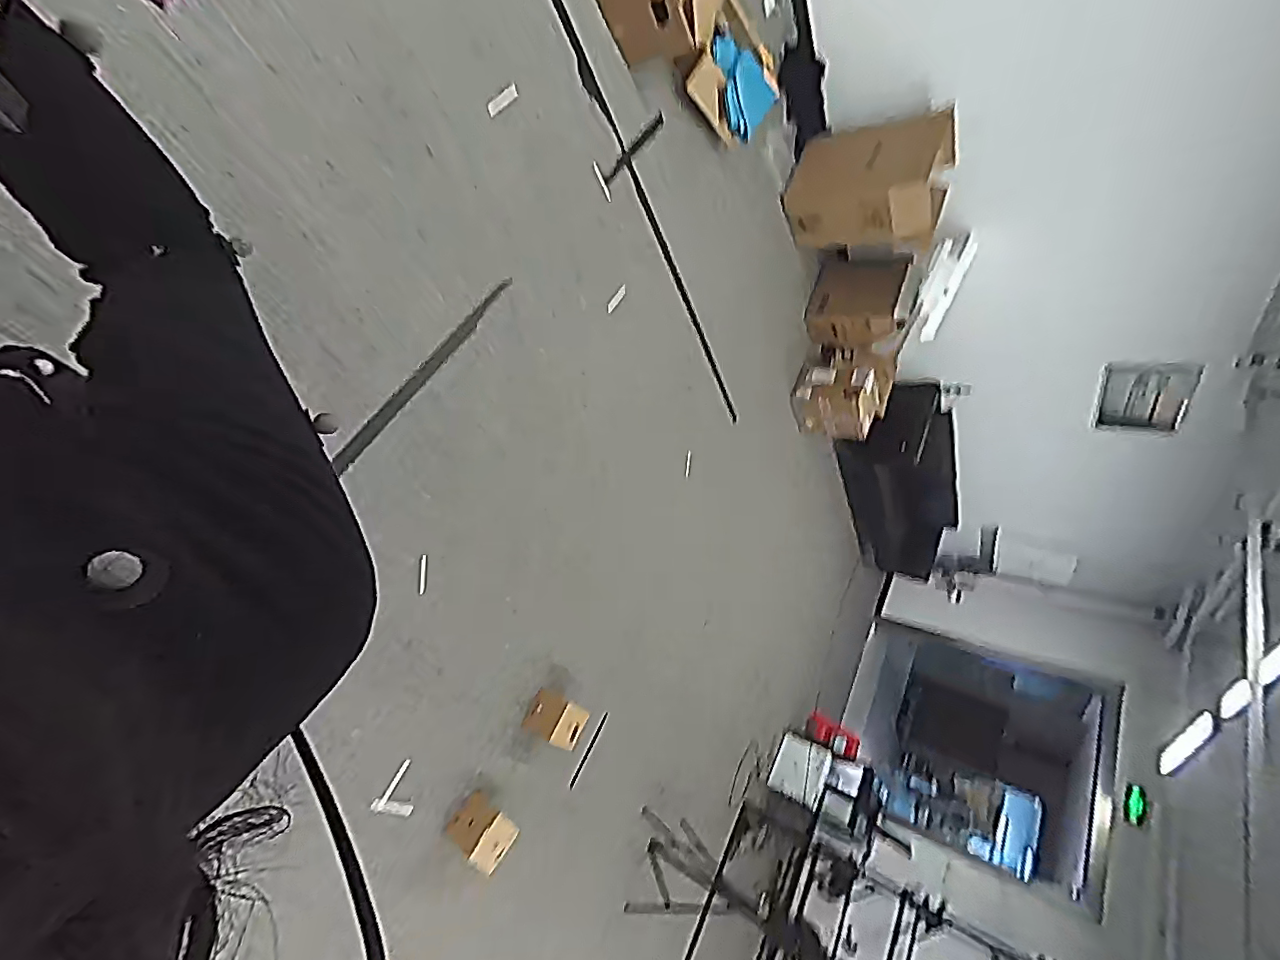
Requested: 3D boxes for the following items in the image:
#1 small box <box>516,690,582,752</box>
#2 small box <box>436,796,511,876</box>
[{"bbox_3d":[-0.380,1.003,2.261,0.168,0.176,0.179,-61,139,-24],"label":"small box"},{"bbox_3d":[-0.622,1.319,2.015,0.168,0.176,0.179,-48,133,-35],"label":"small box"}]
